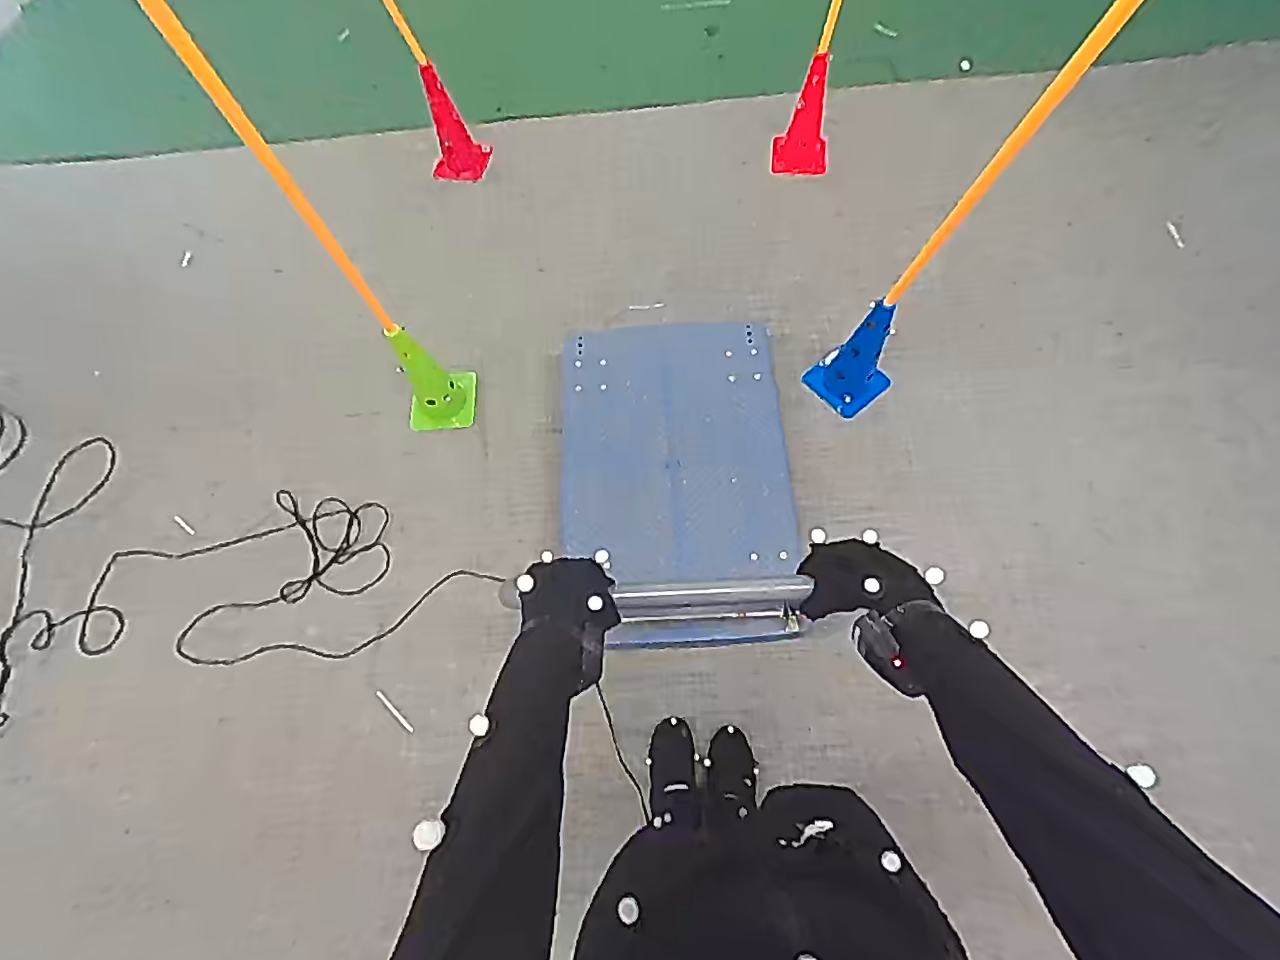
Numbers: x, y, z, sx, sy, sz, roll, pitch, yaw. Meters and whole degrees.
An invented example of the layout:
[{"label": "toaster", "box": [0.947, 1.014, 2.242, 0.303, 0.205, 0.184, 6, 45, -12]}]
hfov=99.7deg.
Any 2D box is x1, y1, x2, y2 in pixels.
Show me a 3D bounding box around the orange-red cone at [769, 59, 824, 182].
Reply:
[{"label": "orange-red cone", "box": [0.578, -1.258, 1.878, 0.198, 0.360, 0.199, 6, 68, 7]}]
